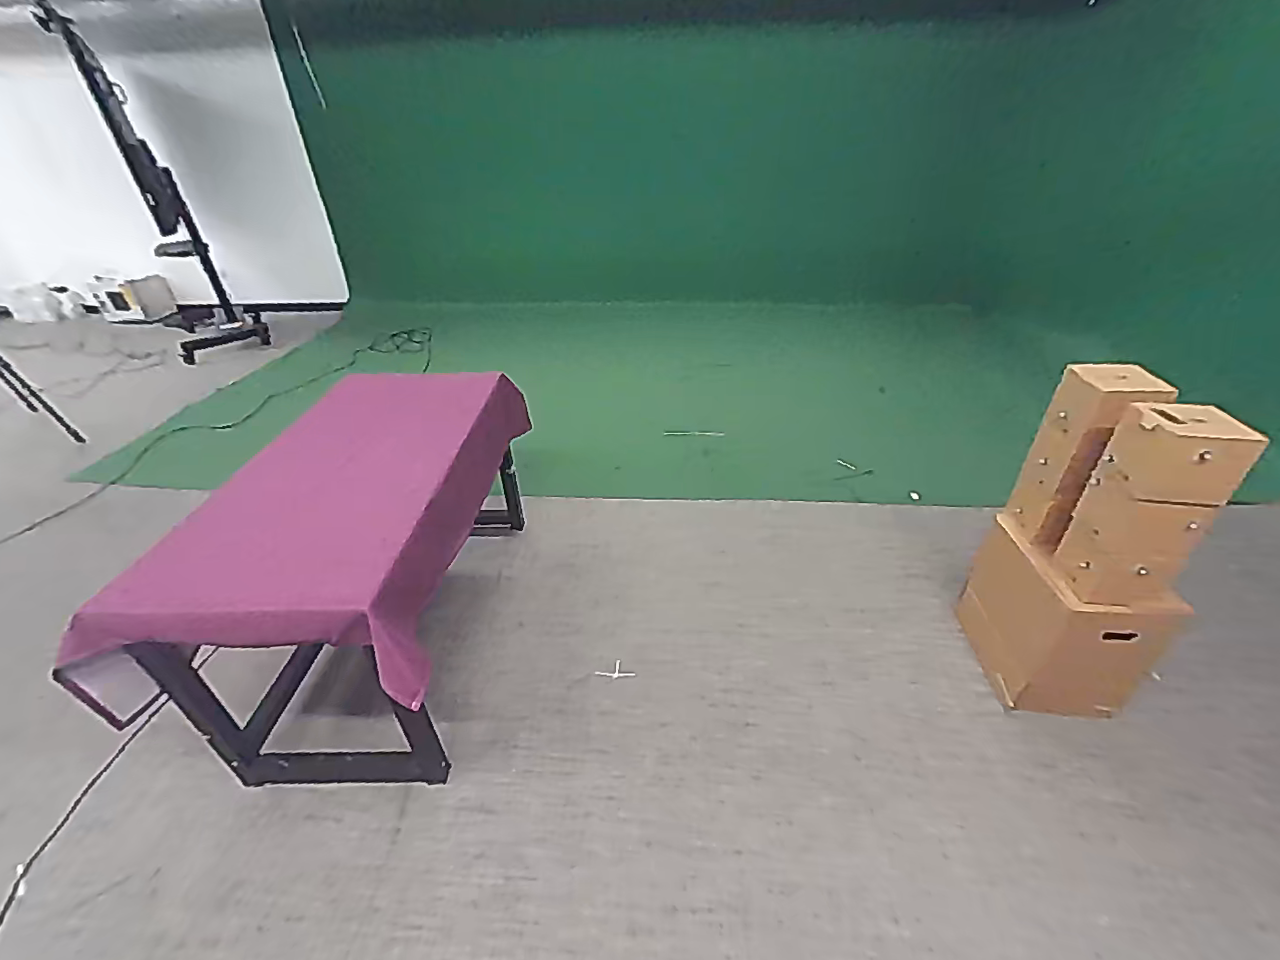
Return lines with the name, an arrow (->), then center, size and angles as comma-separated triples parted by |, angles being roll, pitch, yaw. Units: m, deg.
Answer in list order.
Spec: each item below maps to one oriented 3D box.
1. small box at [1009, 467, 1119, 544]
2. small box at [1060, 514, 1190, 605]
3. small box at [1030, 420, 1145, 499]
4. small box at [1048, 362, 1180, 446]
small box -> 1.244, 0.077, 1.602 | 0.179, 0.176, 0.168 | 0, 35, 5
small box -> 1.240, 0.207, 1.405 | 0.179, 0.176, 0.168 | 3, 34, 7
small box -> 1.233, -0.059, 1.511 | 0.179, 0.176, 0.168 | 0, 35, 7
small box -> 1.229, -0.198, 1.419 | 0.179, 0.176, 0.168 | 1, 34, 6
